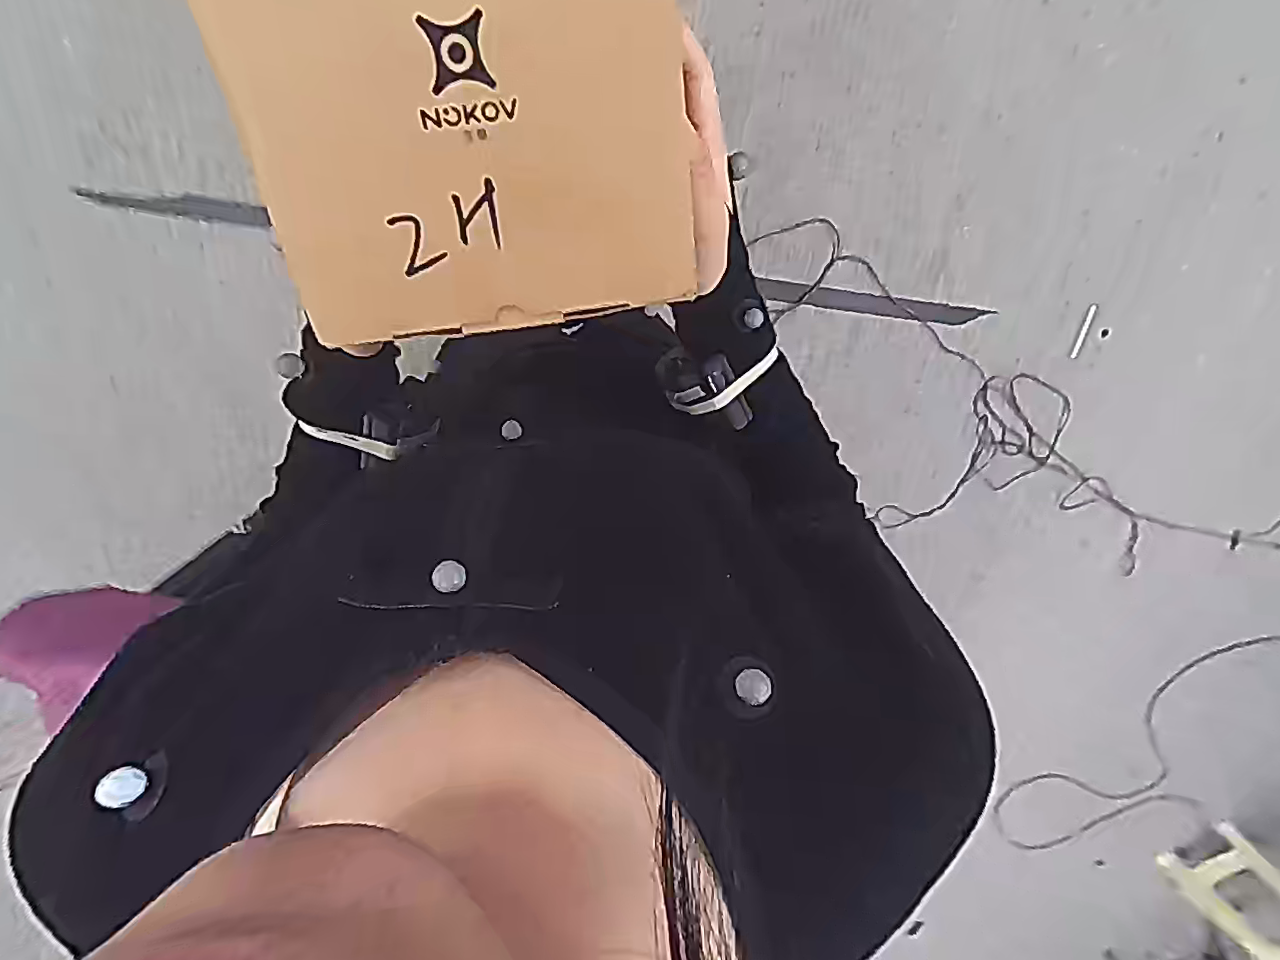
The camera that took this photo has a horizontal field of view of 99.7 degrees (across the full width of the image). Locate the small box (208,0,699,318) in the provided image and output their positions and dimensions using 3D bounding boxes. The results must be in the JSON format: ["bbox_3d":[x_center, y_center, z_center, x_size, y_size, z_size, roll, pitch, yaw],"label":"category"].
[{"bbox_3d":[-0.071,-0.187,0.267,0.168,0.176,0.179,-8,115,-2],"label":"small box"}]
